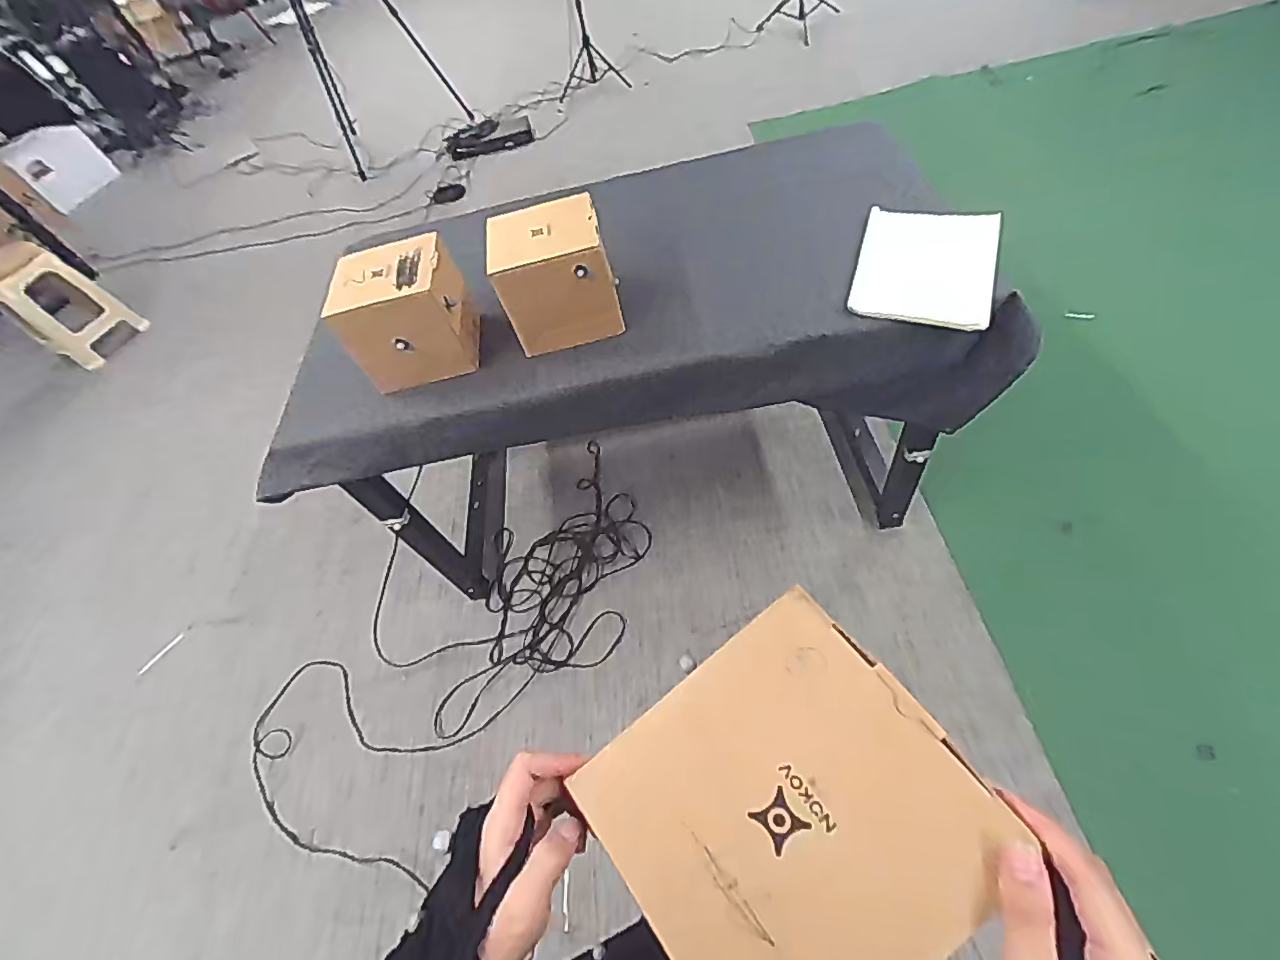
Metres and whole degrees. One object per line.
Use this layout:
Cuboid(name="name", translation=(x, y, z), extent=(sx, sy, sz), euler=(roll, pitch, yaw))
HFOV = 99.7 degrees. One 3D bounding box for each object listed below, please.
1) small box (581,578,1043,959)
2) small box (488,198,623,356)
Cuboid(name="small box", translation=(0.095, 0.193, 0.353), extent=(0.179, 0.176, 0.168), euler=(-40, 65, -3))
Cuboid(name="small box", translation=(-0.138, -0.332, 0.904), extent=(0.179, 0.176, 0.168), euler=(-14, 53, 2))
